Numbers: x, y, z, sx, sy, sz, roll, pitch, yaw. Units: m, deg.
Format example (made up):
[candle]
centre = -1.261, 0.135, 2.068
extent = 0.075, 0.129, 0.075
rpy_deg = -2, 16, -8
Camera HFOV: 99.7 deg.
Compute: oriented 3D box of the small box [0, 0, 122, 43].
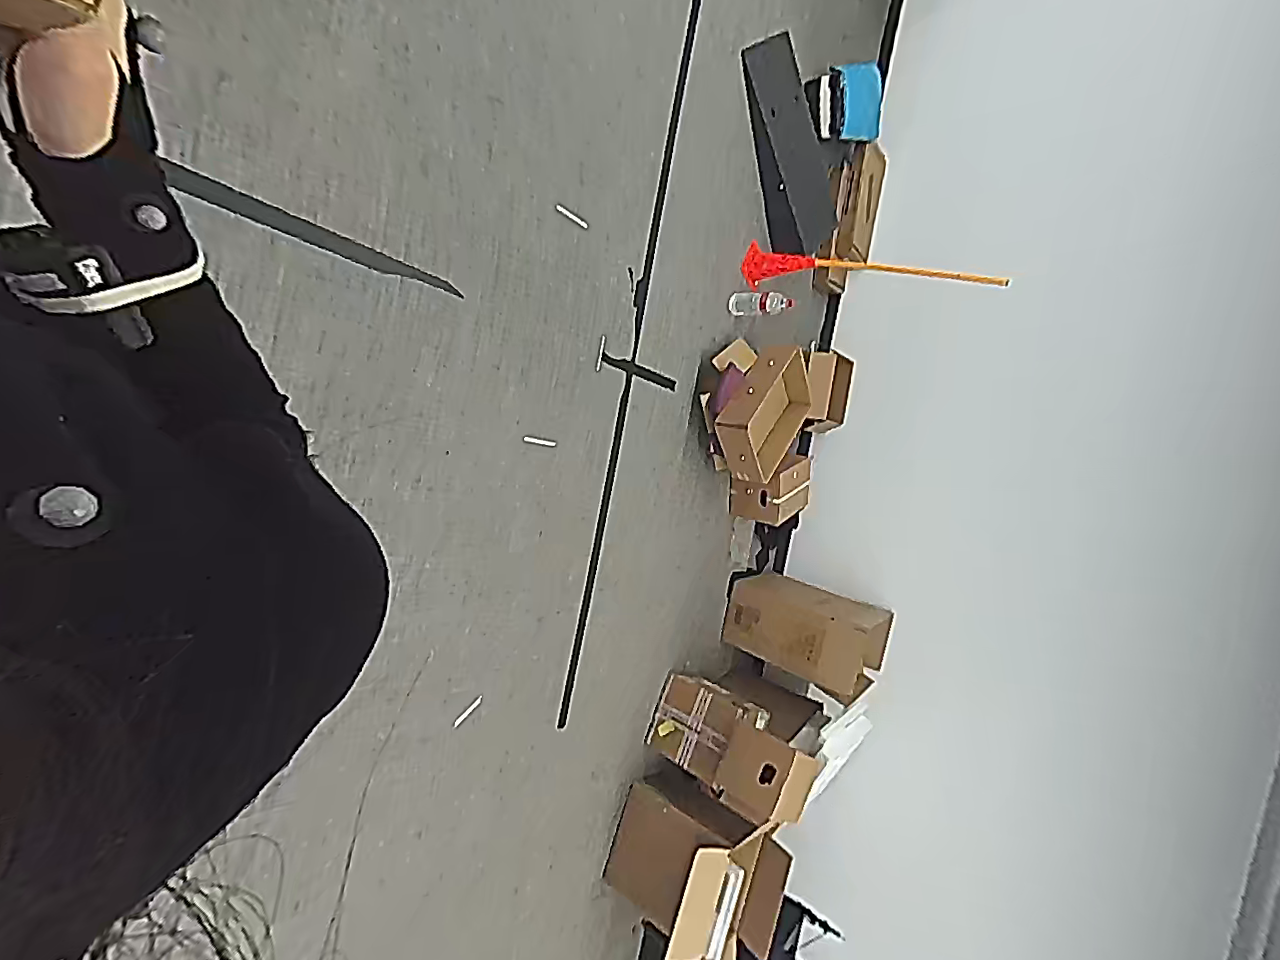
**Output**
[small box]
centre = -0.274, -0.257, 0.144
extent = 0.168, 0.176, 0.179
rpy_deg = -12, 119, -56
